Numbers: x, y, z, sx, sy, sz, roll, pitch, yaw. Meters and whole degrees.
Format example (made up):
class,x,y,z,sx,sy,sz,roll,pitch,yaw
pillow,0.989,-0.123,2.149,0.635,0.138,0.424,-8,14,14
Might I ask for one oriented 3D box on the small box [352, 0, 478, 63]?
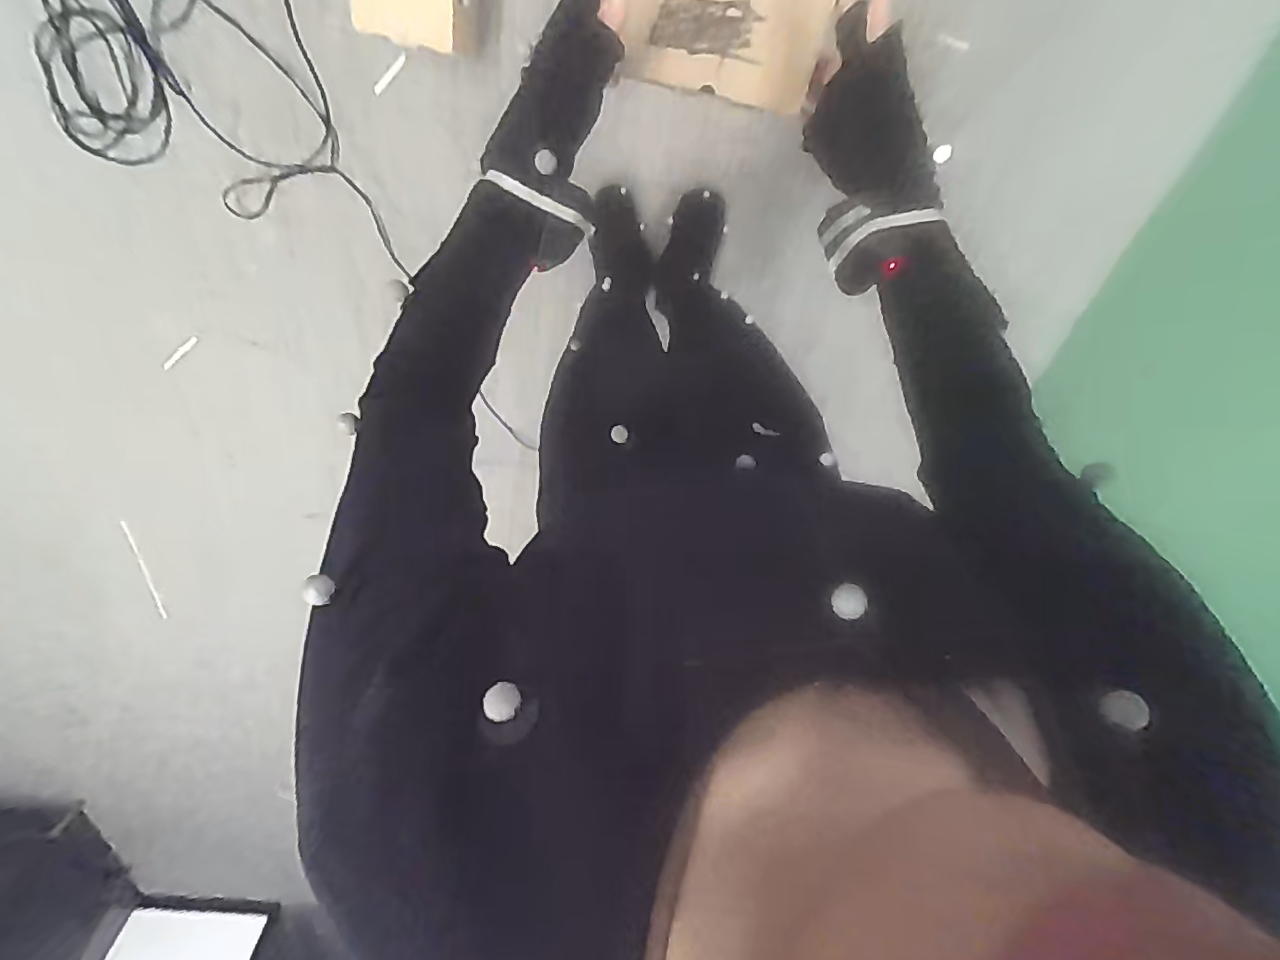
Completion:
class,x,y,z,sx,sy,sz,roll,pitch,yaw
small box,-0.382,-0.848,0.931,0.168,0.176,0.179,9,124,-6

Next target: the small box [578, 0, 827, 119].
class,x,y,z,sx,sy,sz,roll,pitch,yaw
small box,0.048,-0.419,0.432,0.168,0.176,0.179,2,128,-17
